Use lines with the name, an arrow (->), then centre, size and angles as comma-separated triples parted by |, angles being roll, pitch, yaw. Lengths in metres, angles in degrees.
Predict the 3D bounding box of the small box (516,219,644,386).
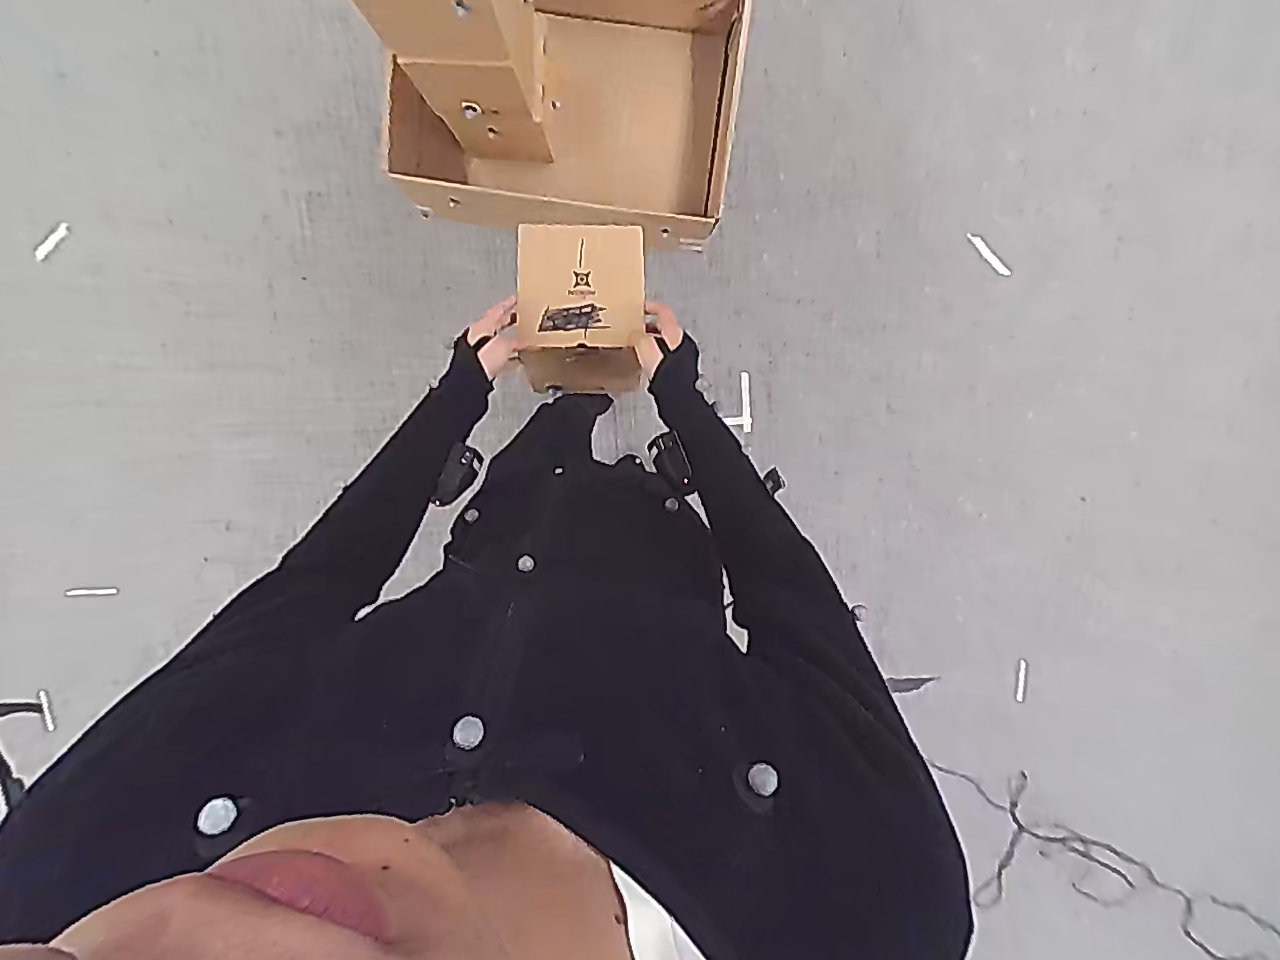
small box -> -0.079, -0.242, 0.774 | 0.168, 0.176, 0.179 | -1, 79, -4

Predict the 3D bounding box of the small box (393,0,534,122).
small box -> -0.260, -0.686, 0.826 | 0.168, 0.176, 0.179 | 1, 99, 0

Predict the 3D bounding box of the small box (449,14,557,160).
small box -> -0.253, -0.710, 0.988 | 0.179, 0.176, 0.168 | 3, 100, -2
